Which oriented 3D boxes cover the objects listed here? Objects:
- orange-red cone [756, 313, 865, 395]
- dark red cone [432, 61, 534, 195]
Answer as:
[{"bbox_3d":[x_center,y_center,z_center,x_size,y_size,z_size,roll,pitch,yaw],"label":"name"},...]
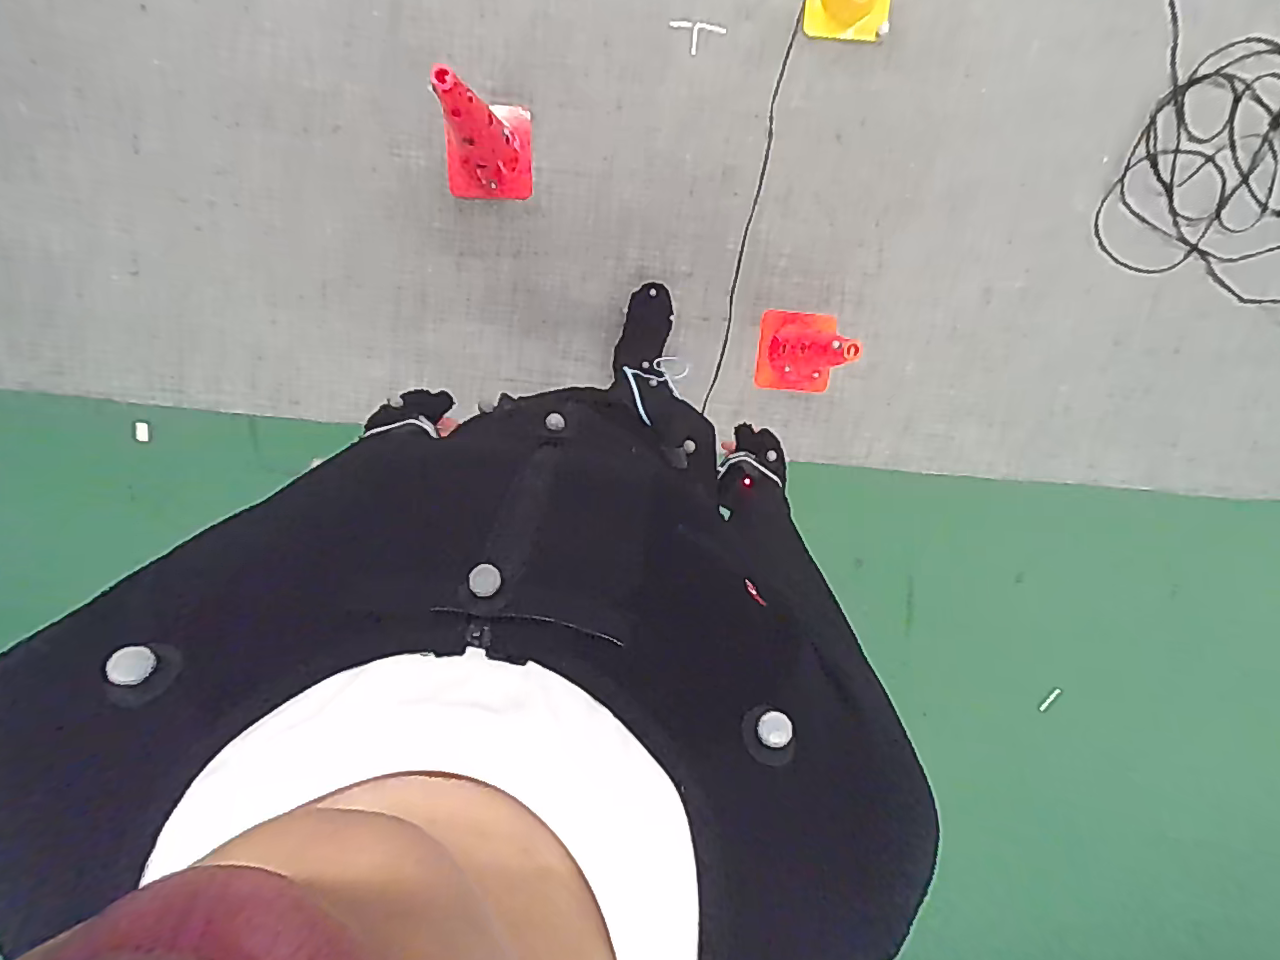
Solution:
[{"bbox_3d":[0.420,-0.293,1.250,0.198,0.360,0.199,5,101,-5],"label":"orange-red cone"},{"bbox_3d":[-0.342,-0.733,1.097,0.202,0.394,0.201,0,104,-2],"label":"dark red cone"}]
